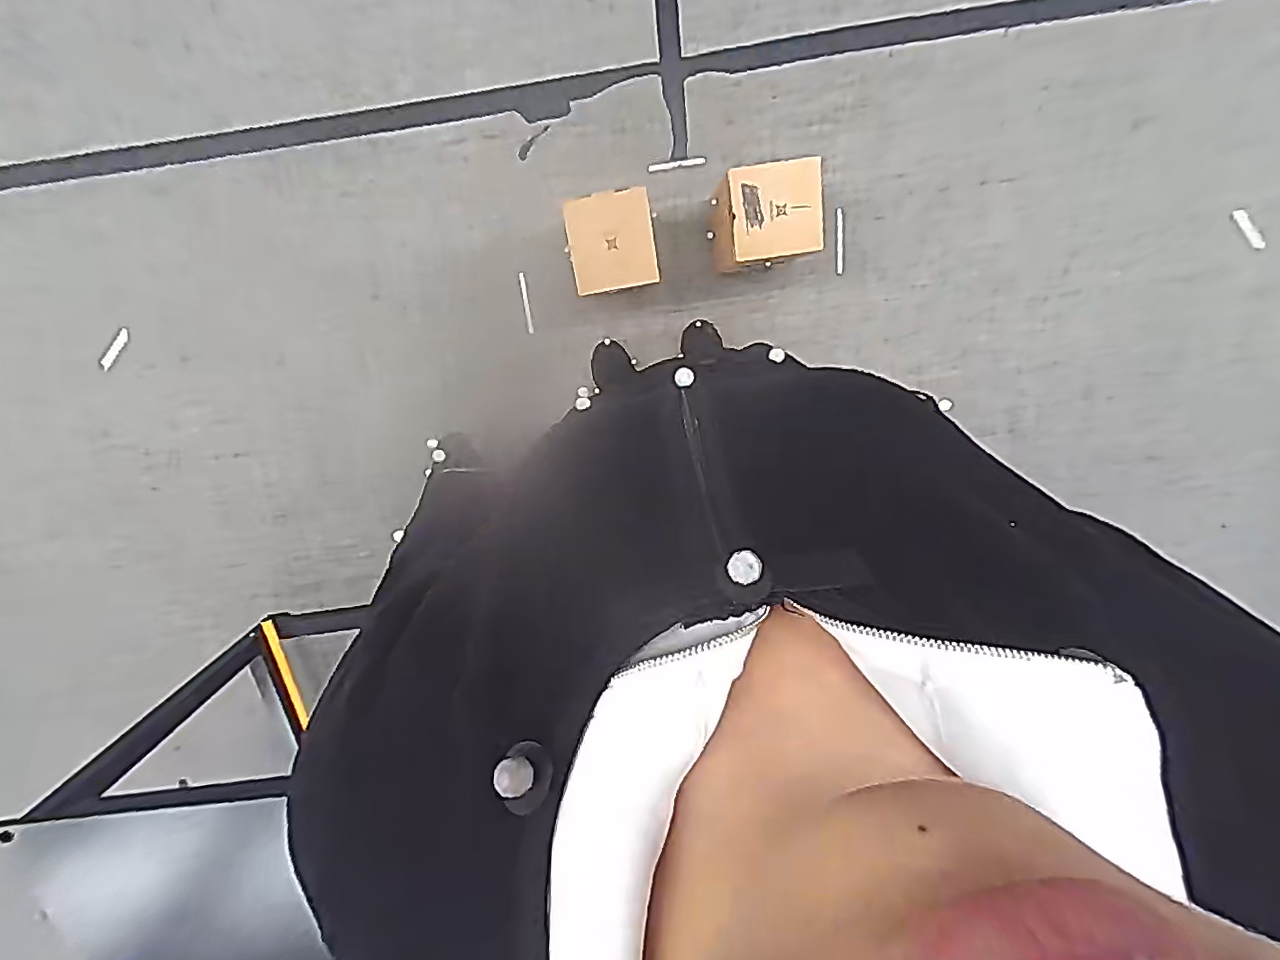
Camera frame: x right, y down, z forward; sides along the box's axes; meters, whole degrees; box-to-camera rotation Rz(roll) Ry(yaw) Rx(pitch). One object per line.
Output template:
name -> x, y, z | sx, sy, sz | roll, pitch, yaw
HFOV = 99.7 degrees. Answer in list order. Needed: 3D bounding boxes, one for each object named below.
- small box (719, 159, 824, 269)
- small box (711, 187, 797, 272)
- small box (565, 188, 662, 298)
small box -> 0.260, -0.532, 1.103 | 0.179, 0.176, 0.168 | -7, 107, 1
small box -> 0.262, -0.583, 1.260 | 0.168, 0.176, 0.179 | -6, 109, 0
small box -> -0.050, -0.480, 1.117 | 0.168, 0.176, 0.179 | -9, 109, 4
